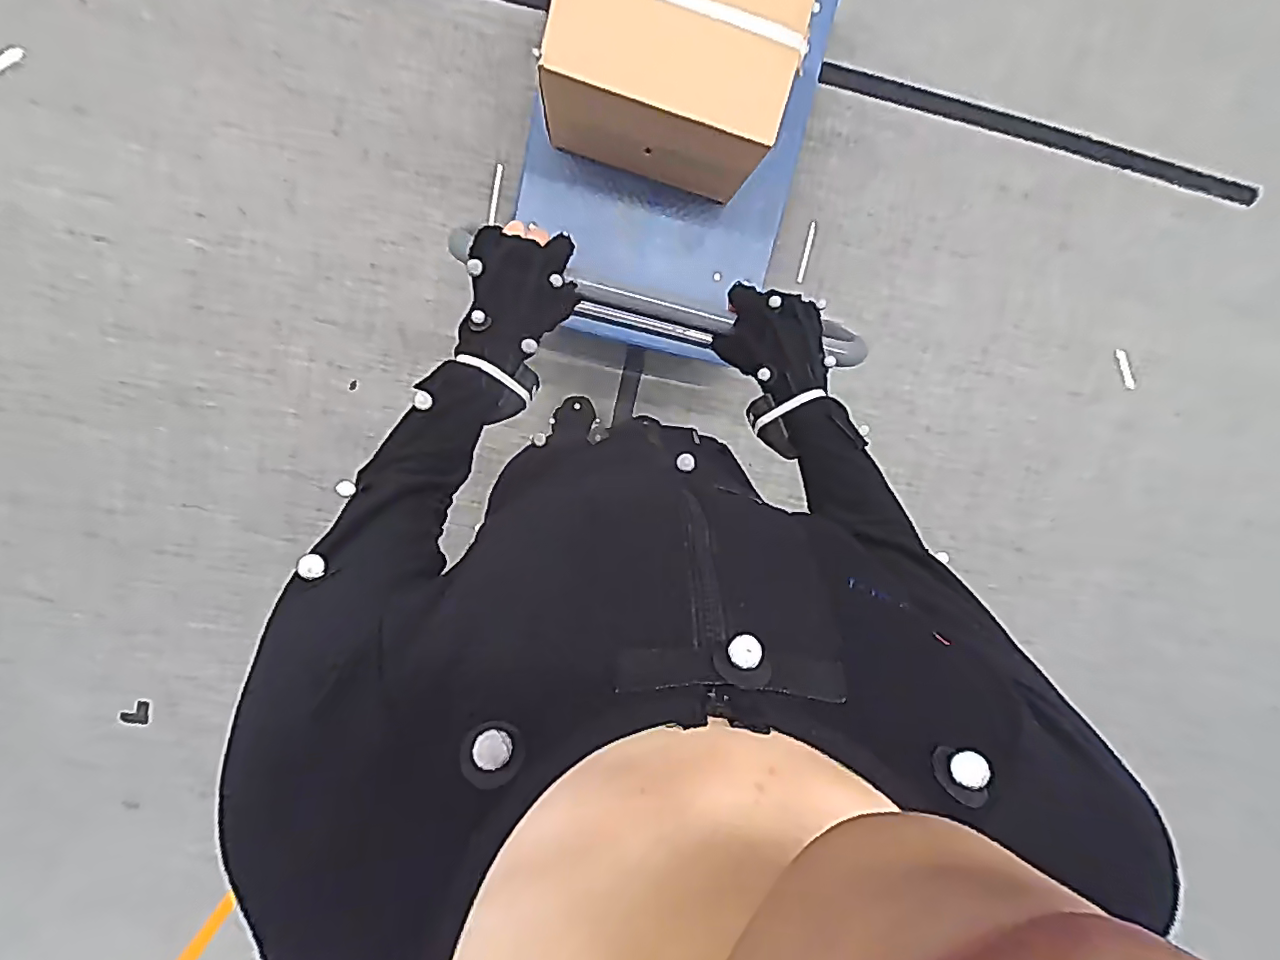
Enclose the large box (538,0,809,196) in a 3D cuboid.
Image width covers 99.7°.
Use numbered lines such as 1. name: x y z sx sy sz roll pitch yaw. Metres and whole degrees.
1. large box: 0.054 -0.783 1.007 0.408 0.320 0.320 14 99 -7
